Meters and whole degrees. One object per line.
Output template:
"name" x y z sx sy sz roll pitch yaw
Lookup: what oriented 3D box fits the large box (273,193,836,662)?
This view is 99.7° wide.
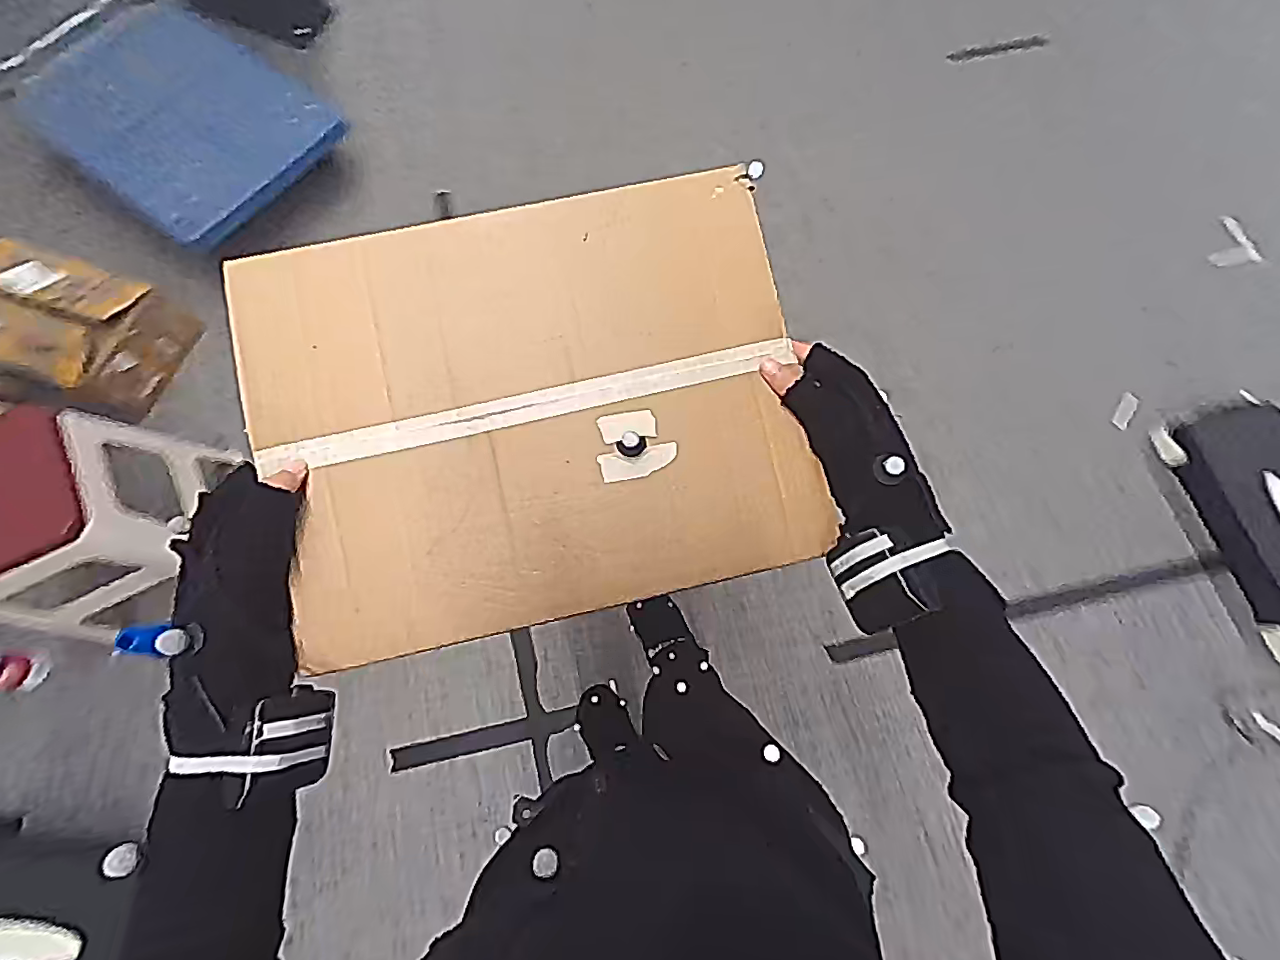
"large box" -0.076 -0.035 0.573 0.408 0.320 0.320 -11 85 -3
